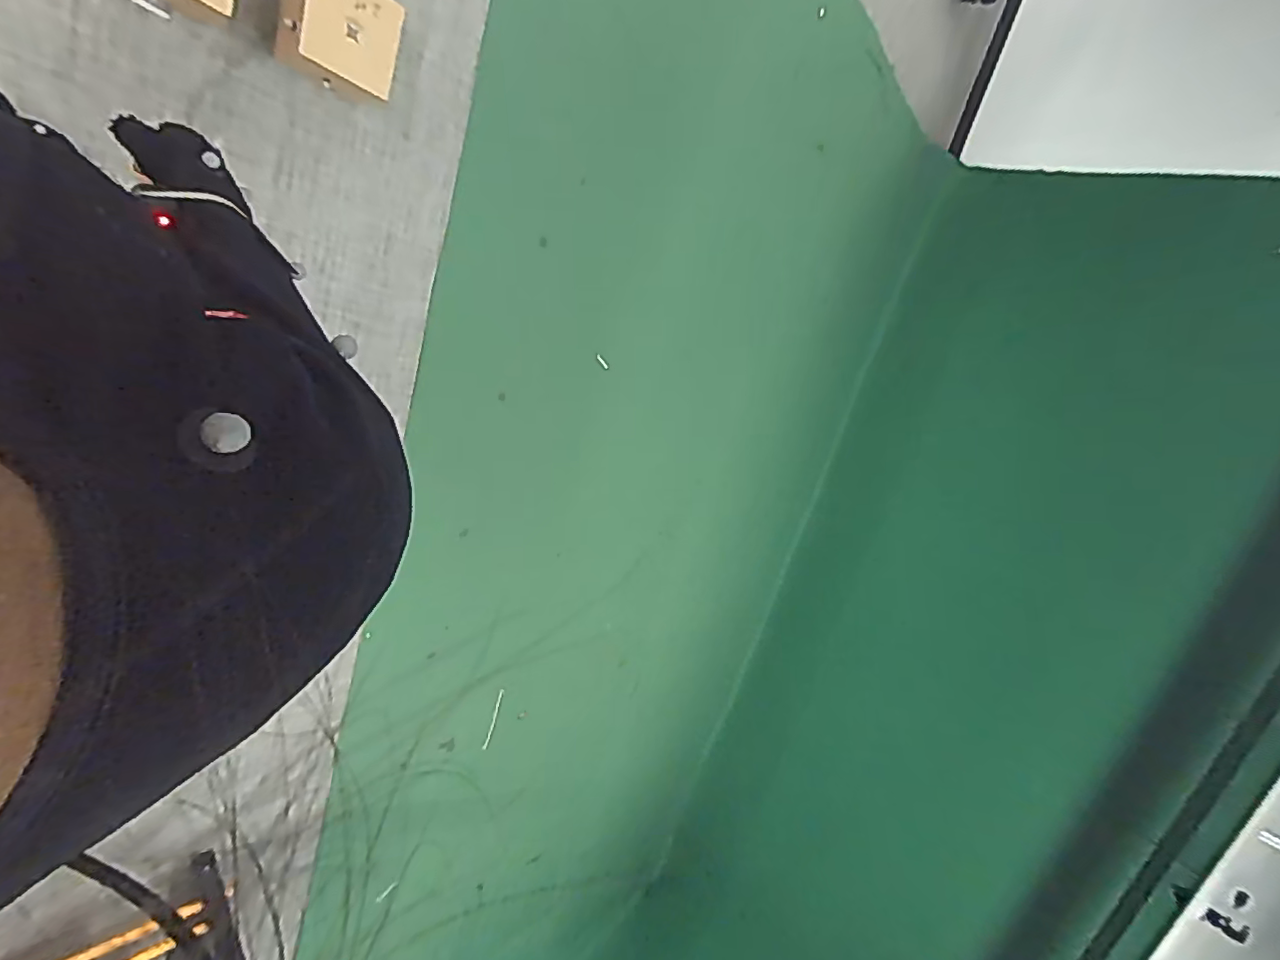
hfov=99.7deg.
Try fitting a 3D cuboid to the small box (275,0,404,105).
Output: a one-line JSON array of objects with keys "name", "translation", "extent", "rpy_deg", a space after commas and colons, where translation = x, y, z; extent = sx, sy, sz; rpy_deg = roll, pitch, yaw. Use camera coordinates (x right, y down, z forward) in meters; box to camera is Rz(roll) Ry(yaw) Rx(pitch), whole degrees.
[{"name": "small box", "translation": [-0.601, -0.880, 1.075], "extent": [0.168, 0.176, 0.179], "rpy_deg": [2, 110, -50]}]
